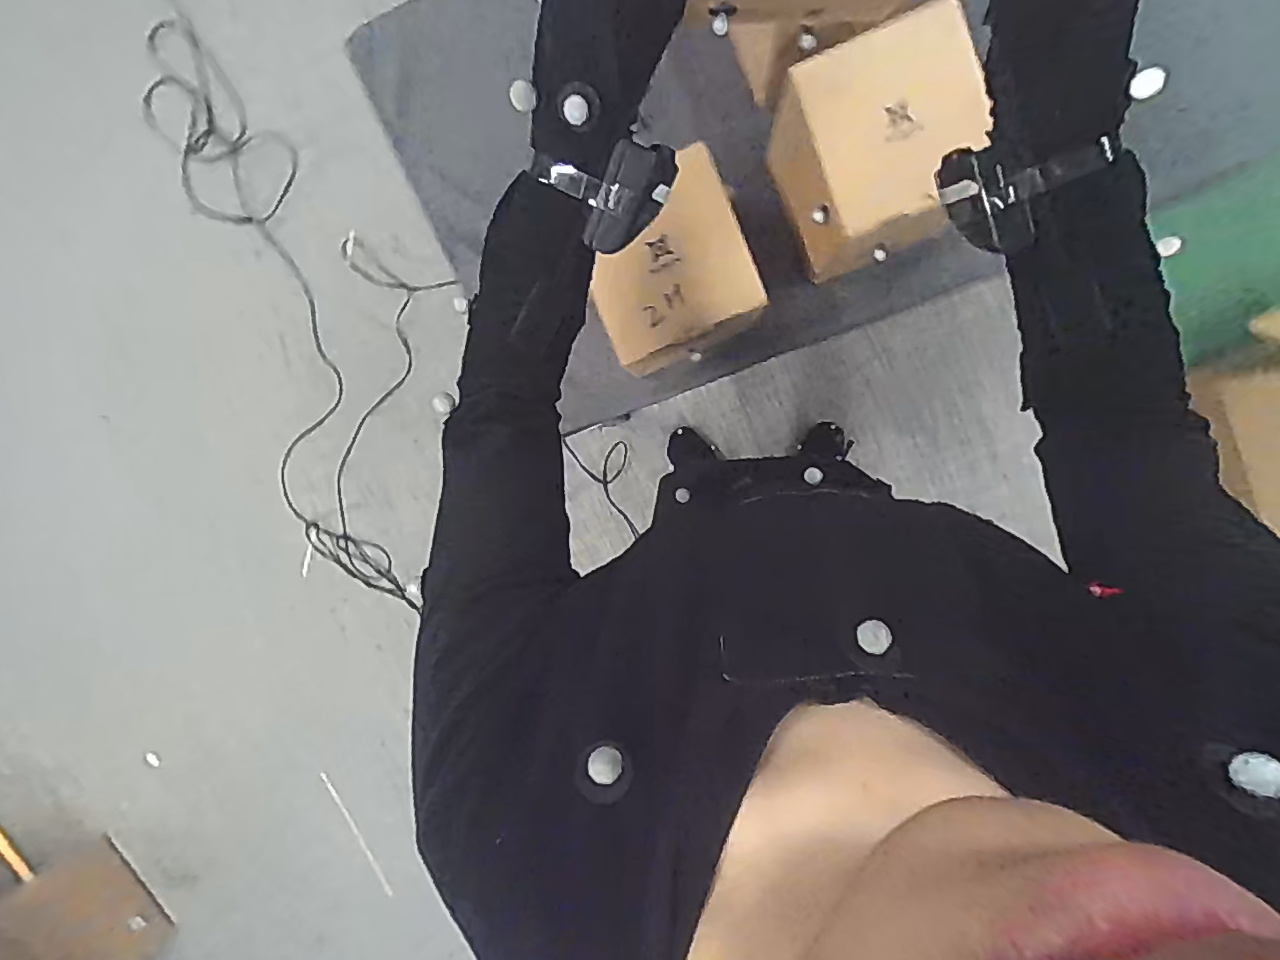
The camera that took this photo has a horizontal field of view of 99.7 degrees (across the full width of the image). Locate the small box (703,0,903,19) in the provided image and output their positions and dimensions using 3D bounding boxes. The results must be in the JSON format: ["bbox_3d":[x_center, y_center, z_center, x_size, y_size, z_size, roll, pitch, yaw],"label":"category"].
[{"bbox_3d":[0.118,-0.405,0.315,0.168,0.176,0.179,-2,111,-2],"label":"small box"}]

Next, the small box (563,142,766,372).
[{"bbox_3d":[0.031,-0.243,0.640,0.168,0.176,0.179,-23,94,8],"label":"small box"}]
